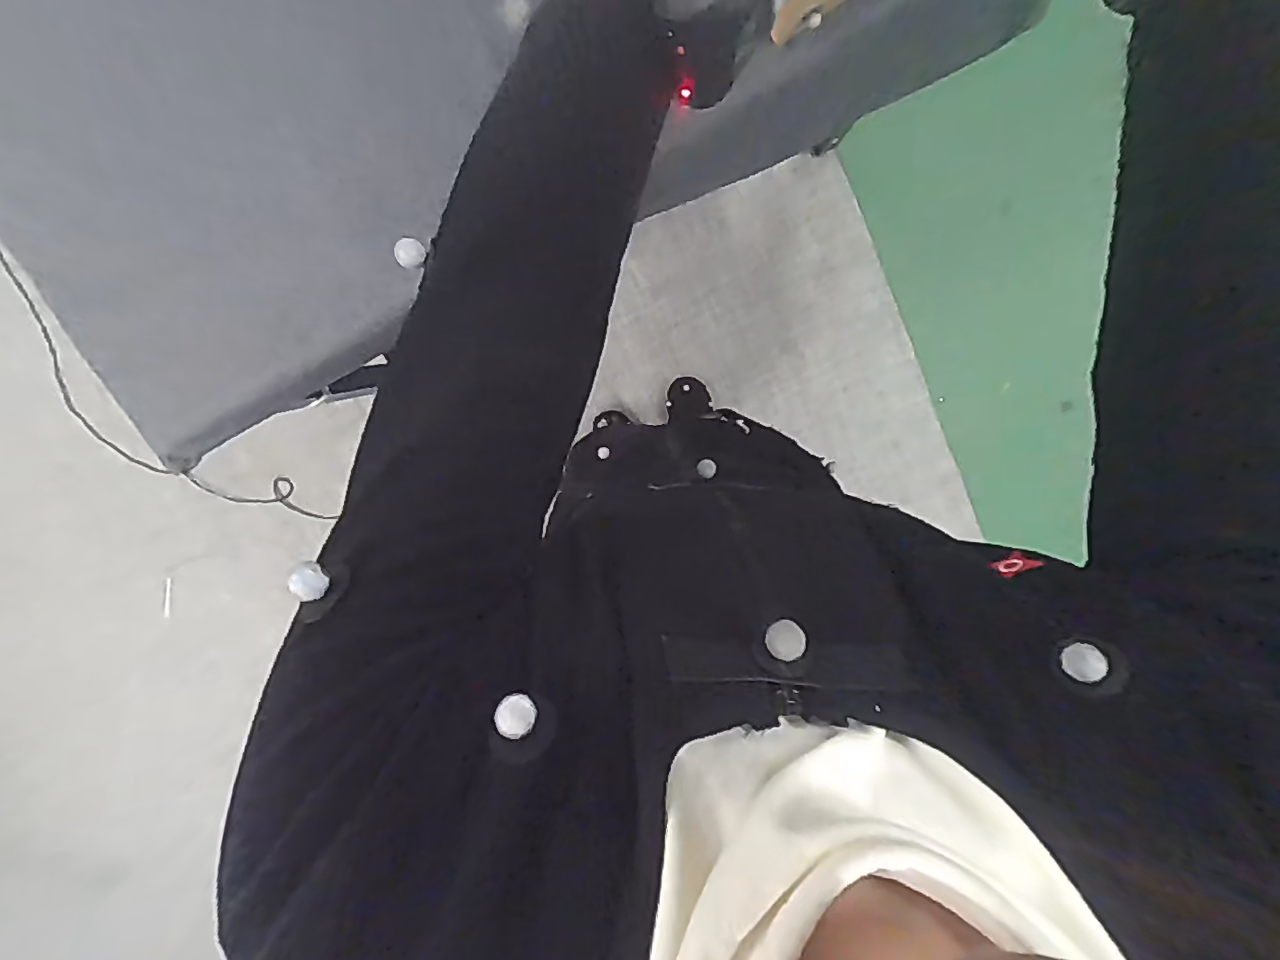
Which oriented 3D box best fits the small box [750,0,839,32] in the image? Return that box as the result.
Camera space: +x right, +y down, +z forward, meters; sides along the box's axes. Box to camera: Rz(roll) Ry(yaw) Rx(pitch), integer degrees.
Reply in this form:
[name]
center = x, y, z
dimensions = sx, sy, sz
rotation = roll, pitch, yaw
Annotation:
[small box]
center = 0.163, -0.546, 0.468
dimensions = 0.168, 0.176, 0.179
rotation = -30, 99, 11
